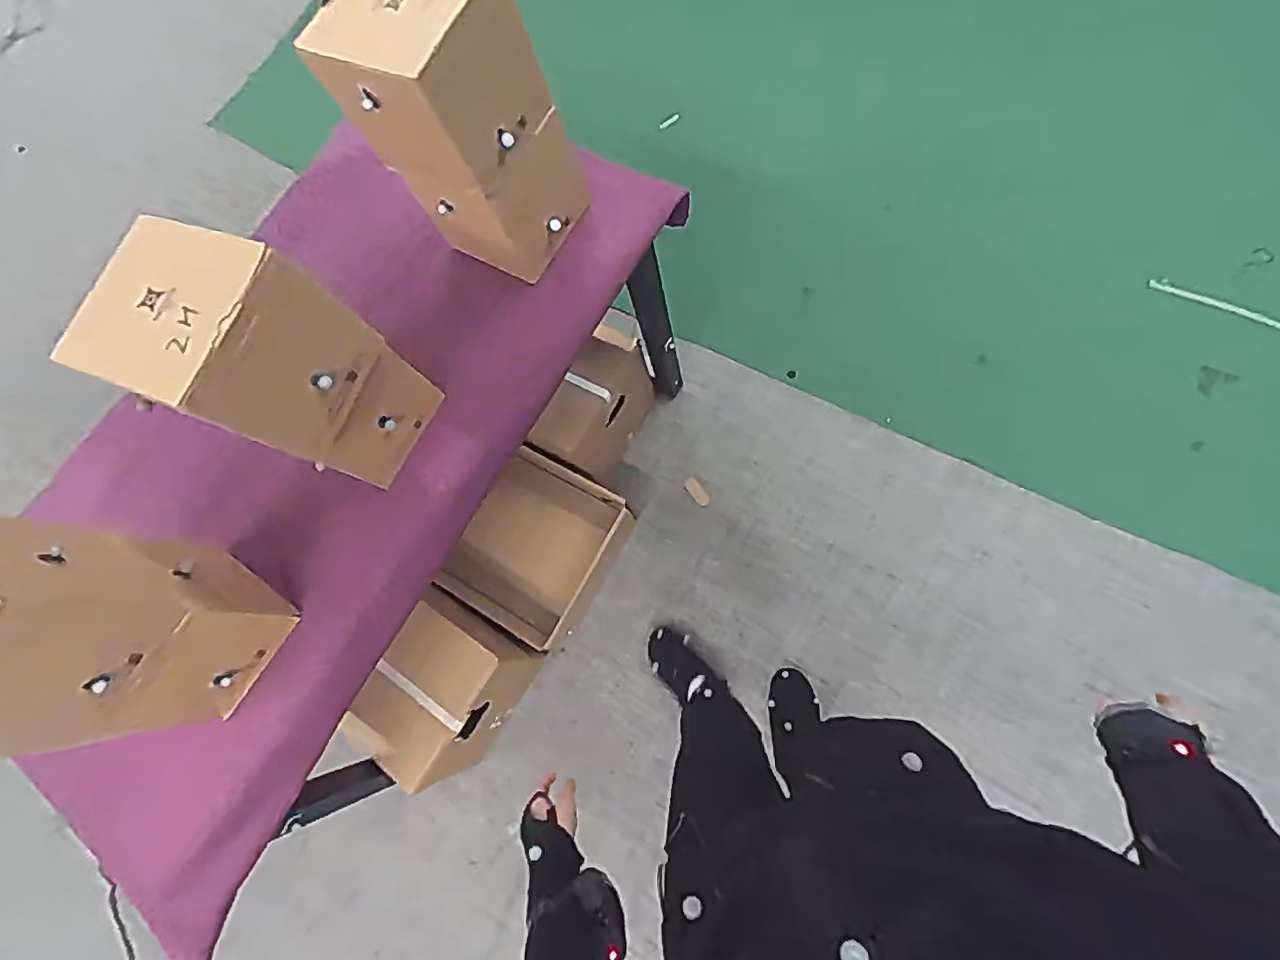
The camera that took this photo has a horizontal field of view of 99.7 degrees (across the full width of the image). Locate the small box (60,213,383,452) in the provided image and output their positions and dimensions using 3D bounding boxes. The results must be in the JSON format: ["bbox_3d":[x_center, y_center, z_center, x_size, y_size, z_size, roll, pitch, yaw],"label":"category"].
[{"bbox_3d":[-0.422,-0.145,0.574,0.179,0.176,0.168,18,79,15],"label":"small box"}]

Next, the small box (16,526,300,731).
[{"bbox_3d":[-0.592,0.185,0.687,0.179,0.176,0.168,30,81,16],"label":"small box"}]

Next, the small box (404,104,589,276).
[{"bbox_3d":[-0.202,-0.432,0.790,0.179,0.176,0.168,29,82,17],"label":"small box"}]

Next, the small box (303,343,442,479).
[{"bbox_3d":[-0.410,-0.116,0.739,0.179,0.176,0.168,25,80,16],"label":"small box"}]

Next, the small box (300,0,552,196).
[{"bbox_3d":[-0.236,-0.472,0.636,0.179,0.176,0.168,26,82,17],"label":"small box"}]
